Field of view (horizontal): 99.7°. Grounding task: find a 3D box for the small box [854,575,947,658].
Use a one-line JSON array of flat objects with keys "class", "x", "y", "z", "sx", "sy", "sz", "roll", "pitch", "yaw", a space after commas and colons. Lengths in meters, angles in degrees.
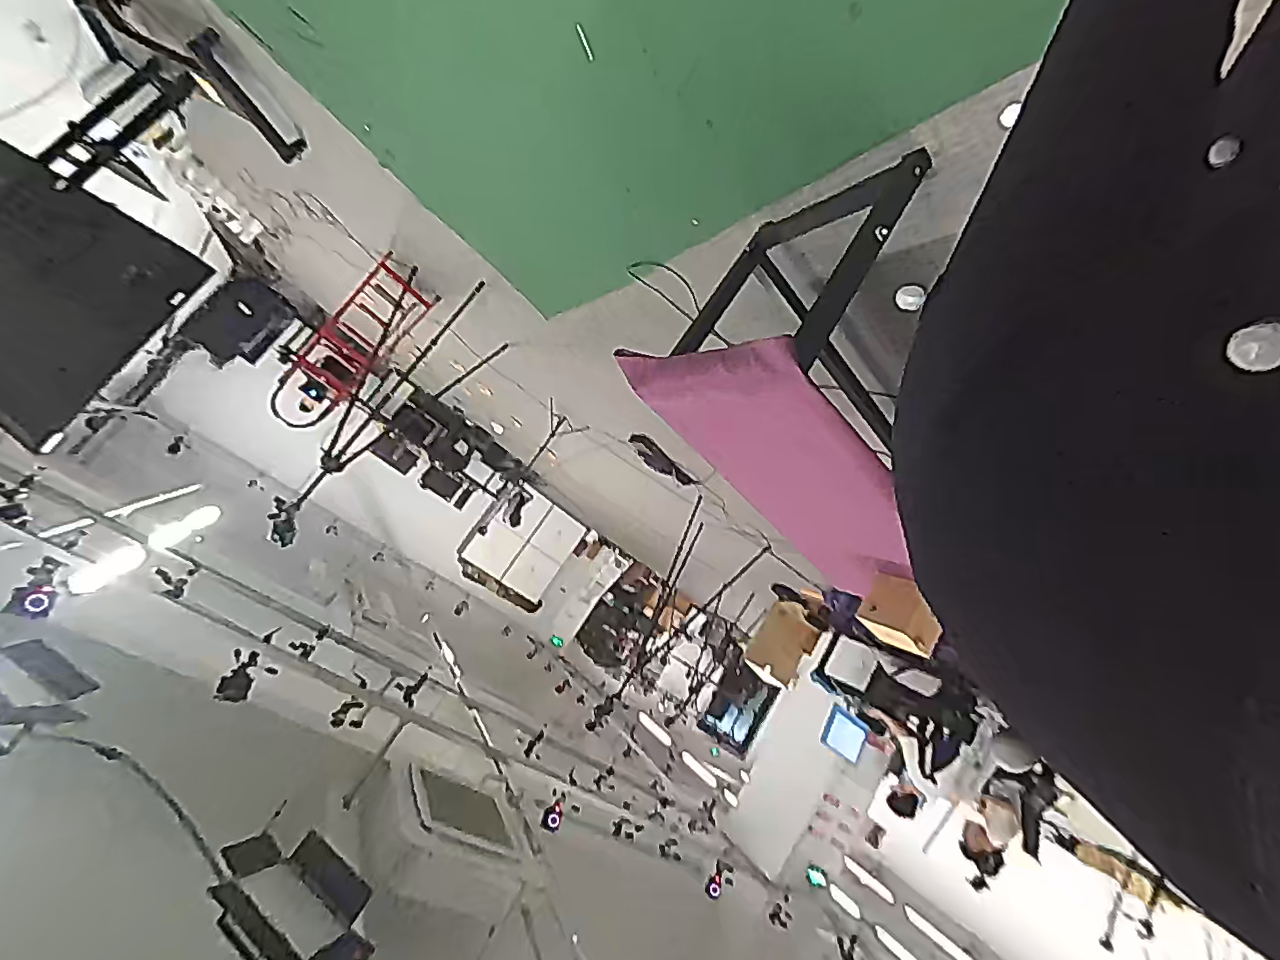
[{"class": "small box", "x": 0.815, "y": 0.417, "z": 1.690, "sx": 0.168, "sy": 0.176, "sz": 0.179, "roll": 41, "pitch": 164, "yaw": -26}]
